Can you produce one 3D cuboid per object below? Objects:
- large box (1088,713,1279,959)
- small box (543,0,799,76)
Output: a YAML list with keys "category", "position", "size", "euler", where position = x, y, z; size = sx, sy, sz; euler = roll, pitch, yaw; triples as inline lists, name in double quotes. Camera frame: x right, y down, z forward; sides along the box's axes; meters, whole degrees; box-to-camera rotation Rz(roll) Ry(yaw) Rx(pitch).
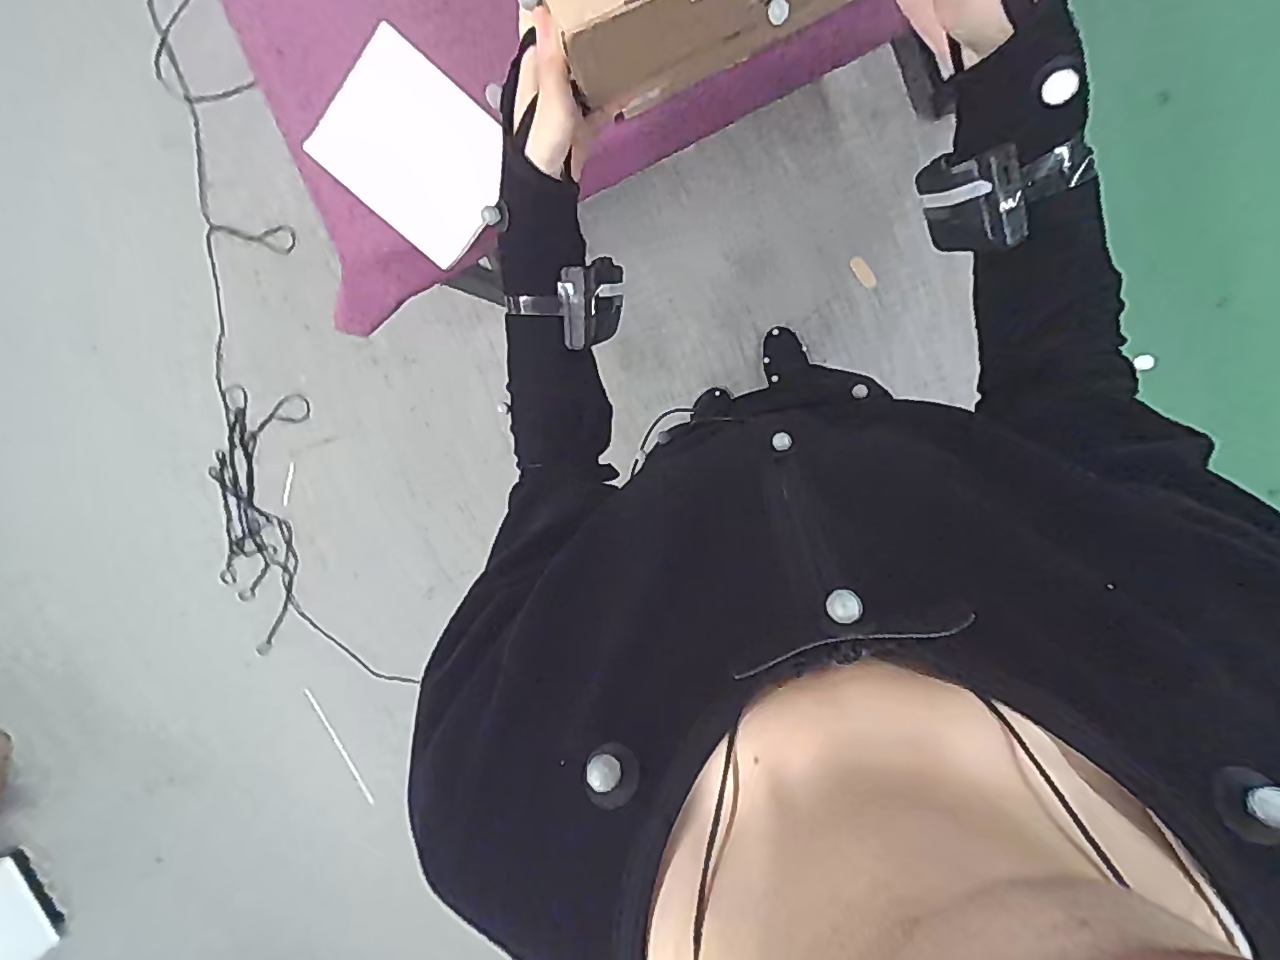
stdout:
- category: "large box"
  position: [1.472, 0.873, 1.336]
  size: [0.408, 0.320, 0.320]
  euler: [-37, 94, 10]
- category: "small box"
  position: [0.011, -0.334, 0.266]
  size: [0.168, 0.176, 0.179]
  euler: [-18, 114, 8]
